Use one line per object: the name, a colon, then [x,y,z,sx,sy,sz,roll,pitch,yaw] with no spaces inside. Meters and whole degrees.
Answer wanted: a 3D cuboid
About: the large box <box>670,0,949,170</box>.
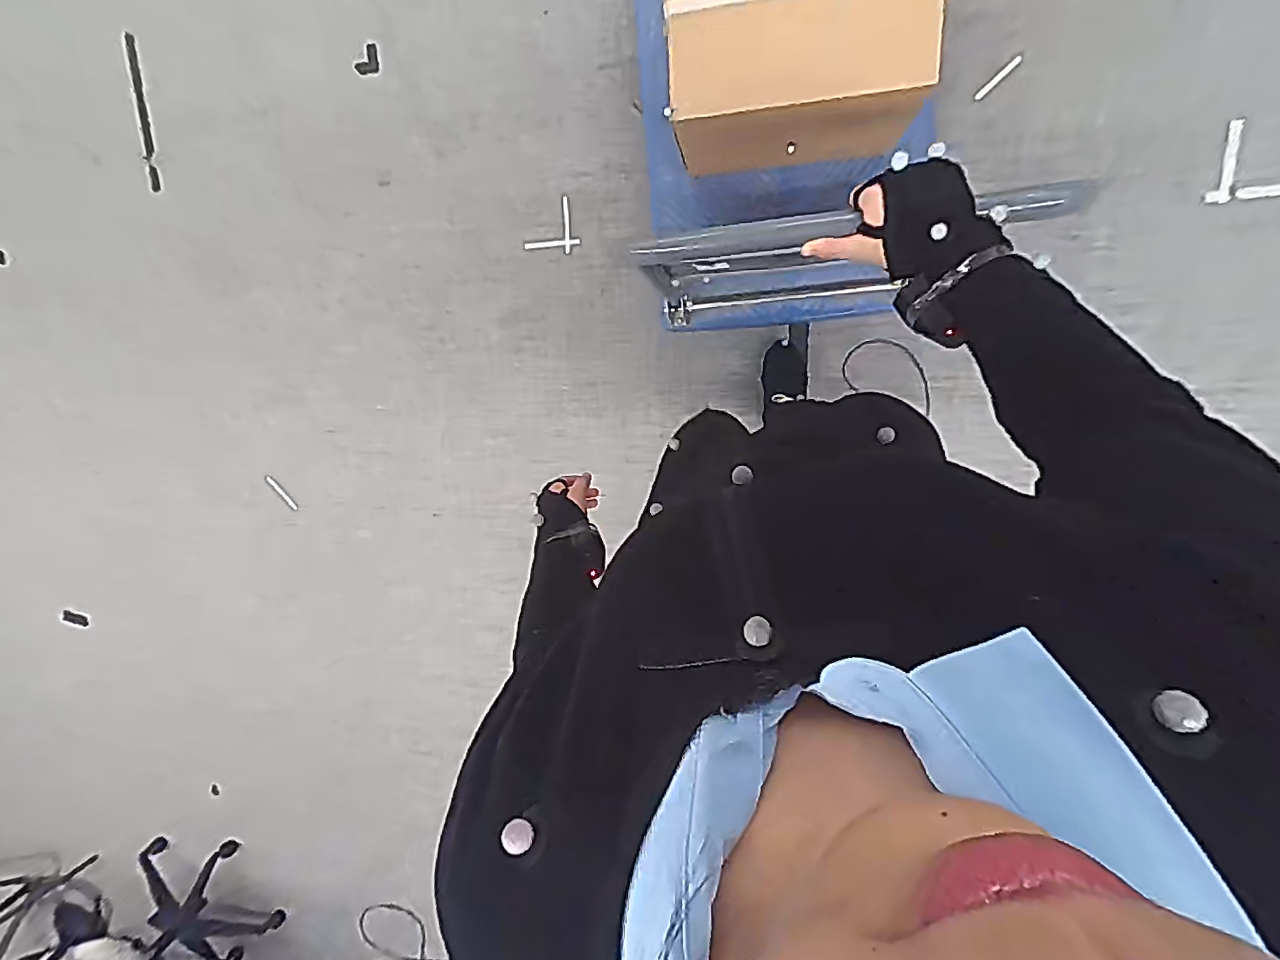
large box: [0.274,-0.777,0.938,0.408,0.320,0.320,-1,102,13]
